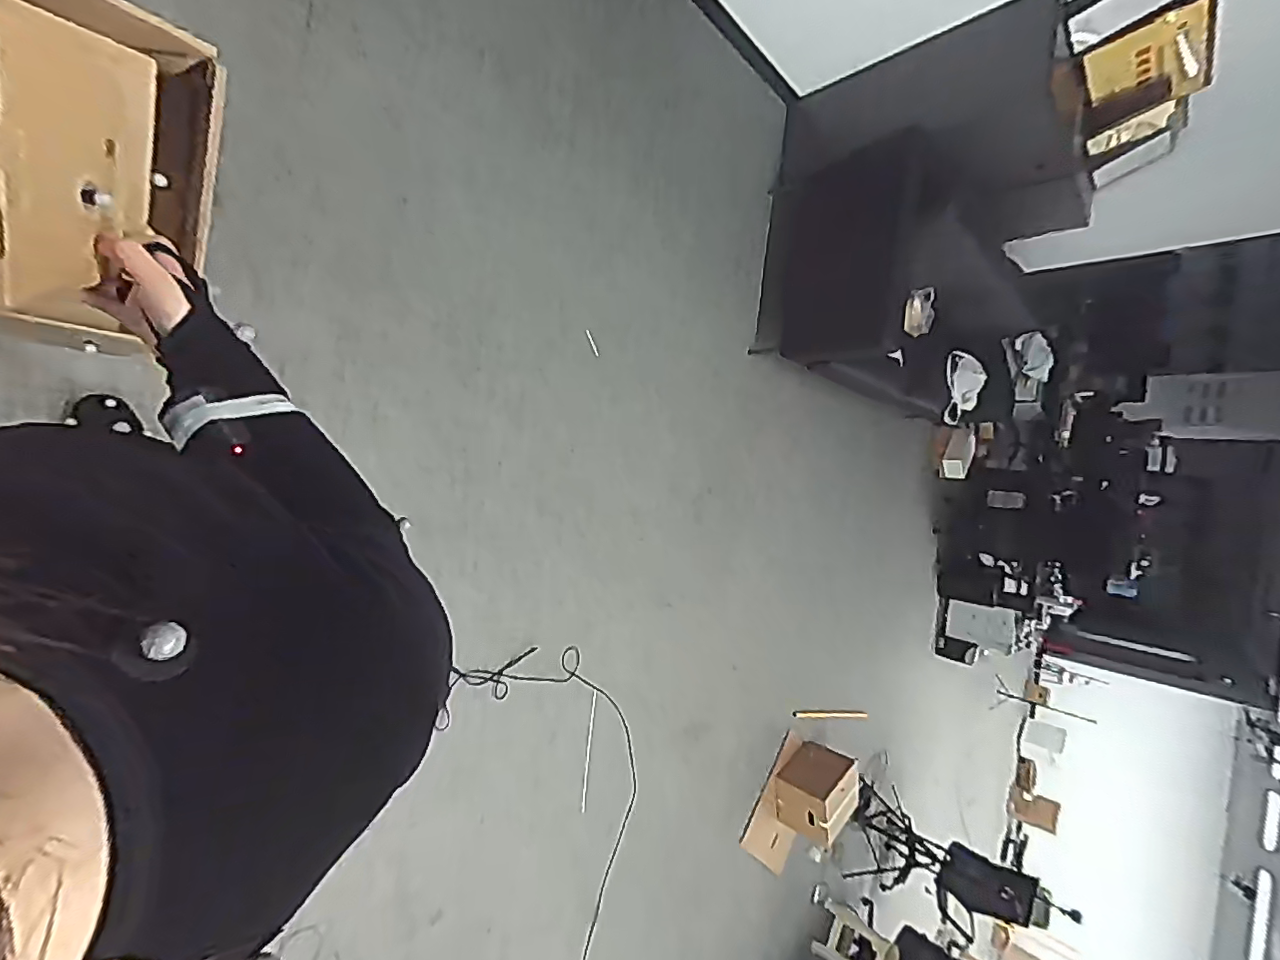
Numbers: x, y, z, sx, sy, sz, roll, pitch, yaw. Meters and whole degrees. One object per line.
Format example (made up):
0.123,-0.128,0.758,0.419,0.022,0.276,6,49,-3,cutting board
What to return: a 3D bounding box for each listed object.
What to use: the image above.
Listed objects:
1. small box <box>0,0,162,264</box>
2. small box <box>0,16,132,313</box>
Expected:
-0.591,-0.333,0.532,0.168,0.176,0.179,3,93,-46,small box
-0.470,-0.222,0.340,0.179,0.176,0.168,10,112,-29,small box
